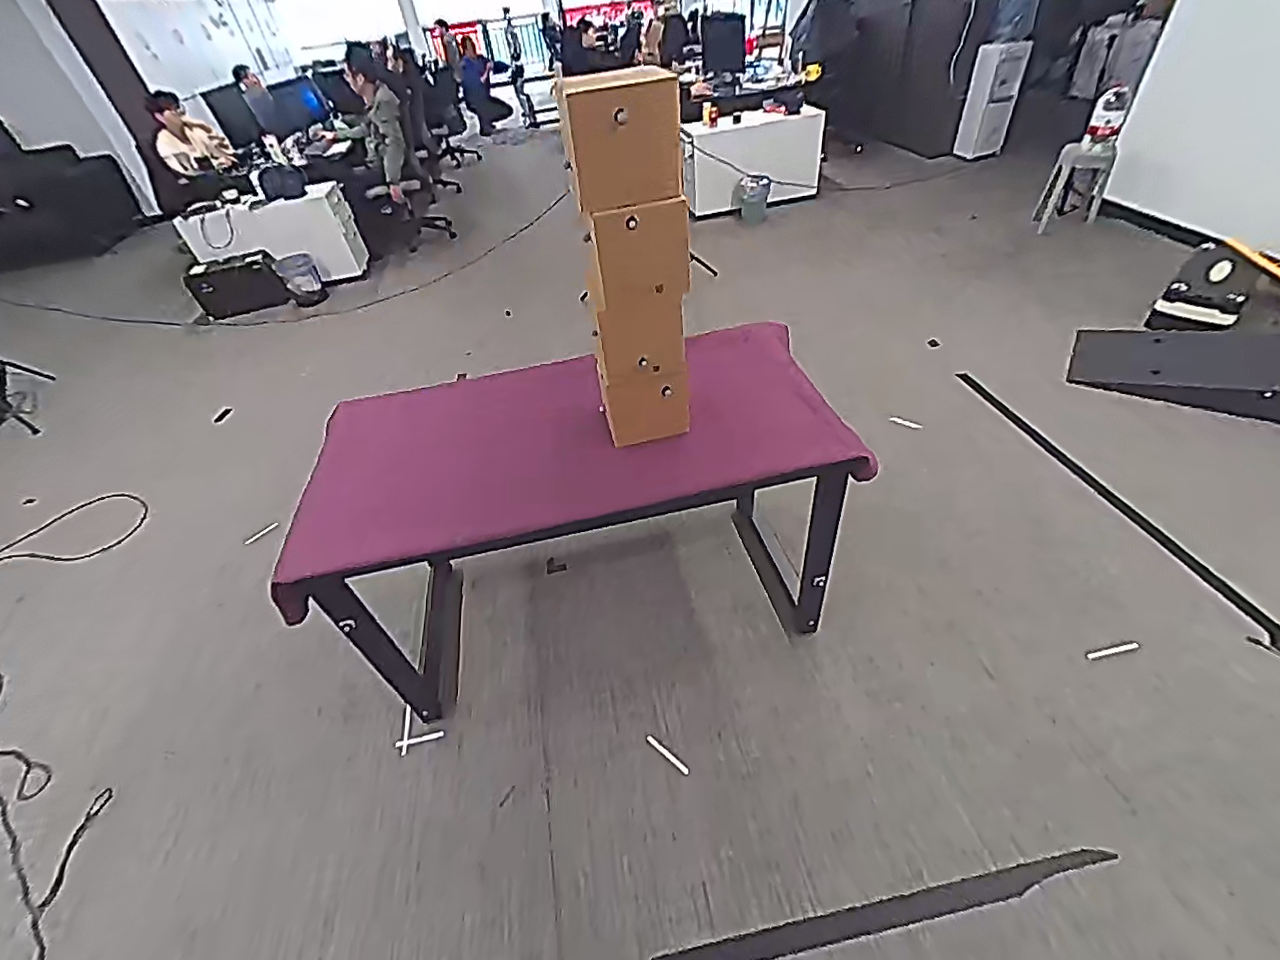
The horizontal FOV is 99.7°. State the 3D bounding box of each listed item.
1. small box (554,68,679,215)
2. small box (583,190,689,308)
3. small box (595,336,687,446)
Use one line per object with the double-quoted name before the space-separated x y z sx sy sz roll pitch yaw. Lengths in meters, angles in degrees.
"small box" -0.037 -0.568 0.910 0.179 0.176 0.168 -14 43 -5
"small box" -0.011 -0.443 1.012 0.168 0.176 0.179 -13 43 -5
"small box" 0.005 -0.201 1.233 0.179 0.176 0.168 -13 42 -4
